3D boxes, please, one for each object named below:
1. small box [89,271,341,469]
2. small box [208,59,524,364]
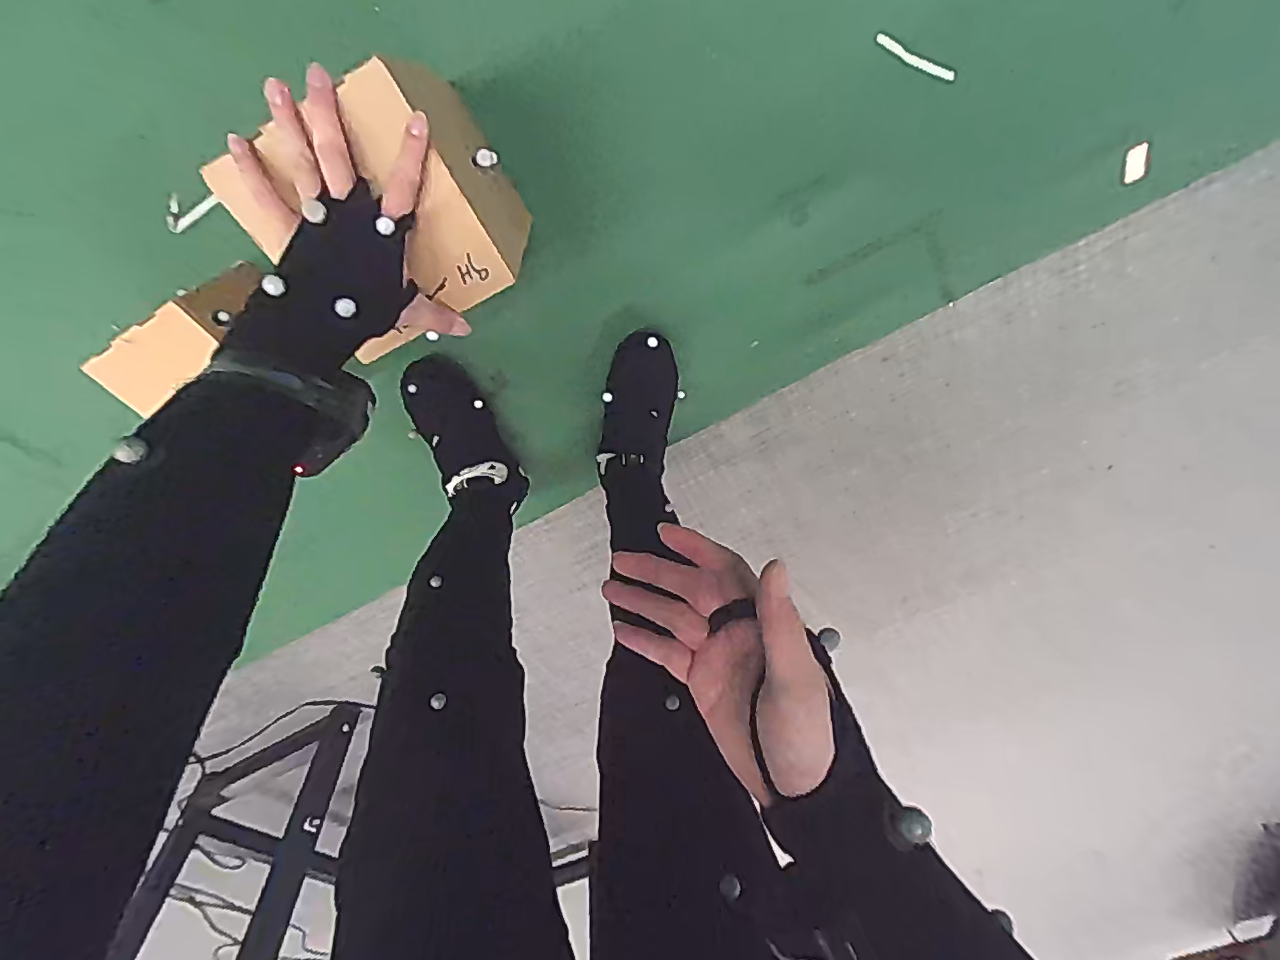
[{"bbox_3d":[-0.555,-0.153,0.740,0.168,0.176,0.179,-26,123,13],"label":"small box"},{"bbox_3d":[-0.224,-0.243,0.500,0.168,0.176,0.179,-24,124,9],"label":"small box"}]
